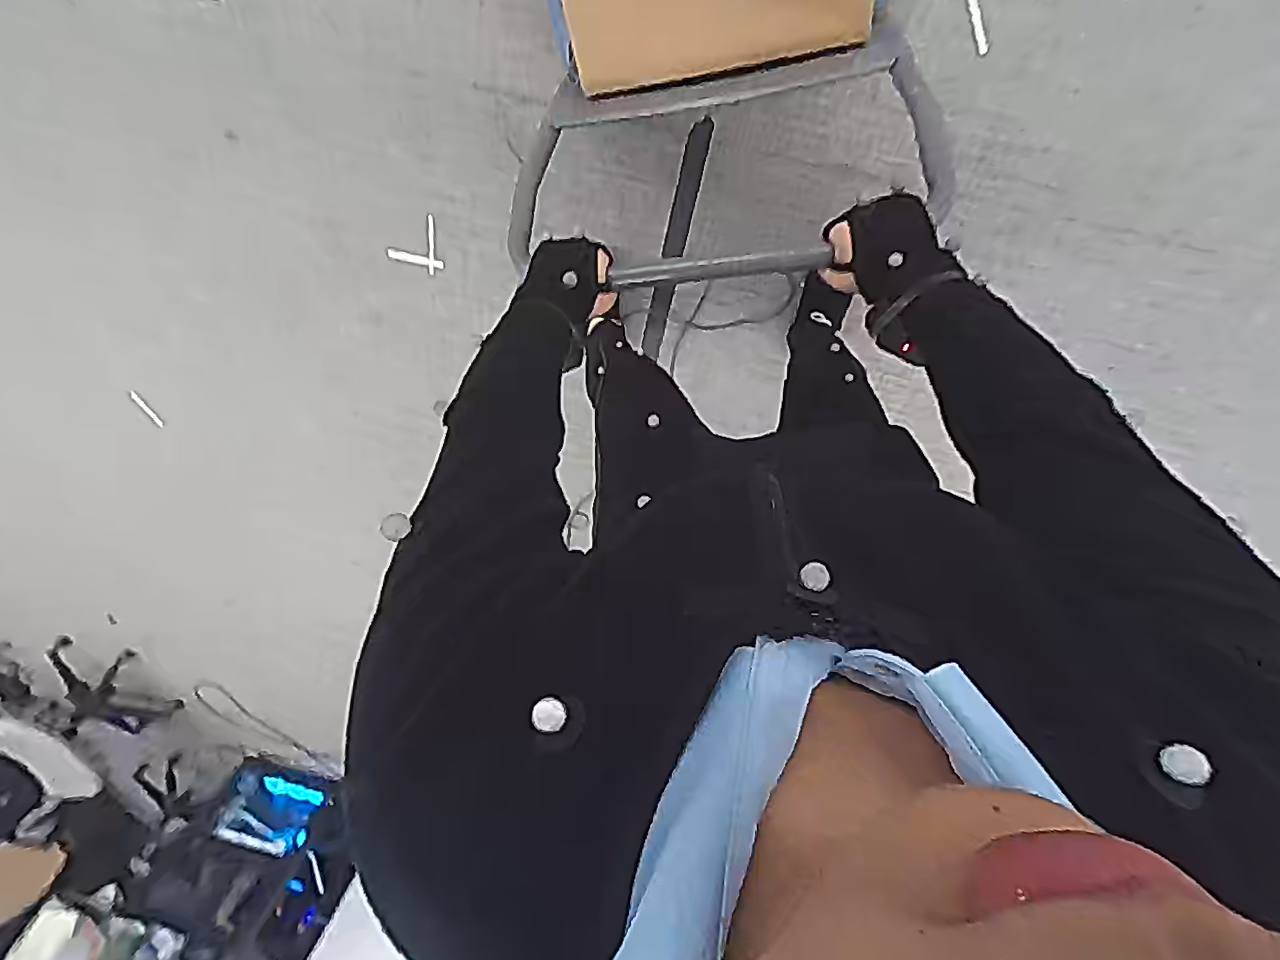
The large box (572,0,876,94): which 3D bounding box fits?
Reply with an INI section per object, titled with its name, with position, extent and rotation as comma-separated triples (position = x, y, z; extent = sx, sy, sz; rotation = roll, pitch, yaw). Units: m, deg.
[large box]
position = 0.101, -0.809, 0.755
extent = 0.408, 0.320, 0.320
rotation = -4, 141, 13
